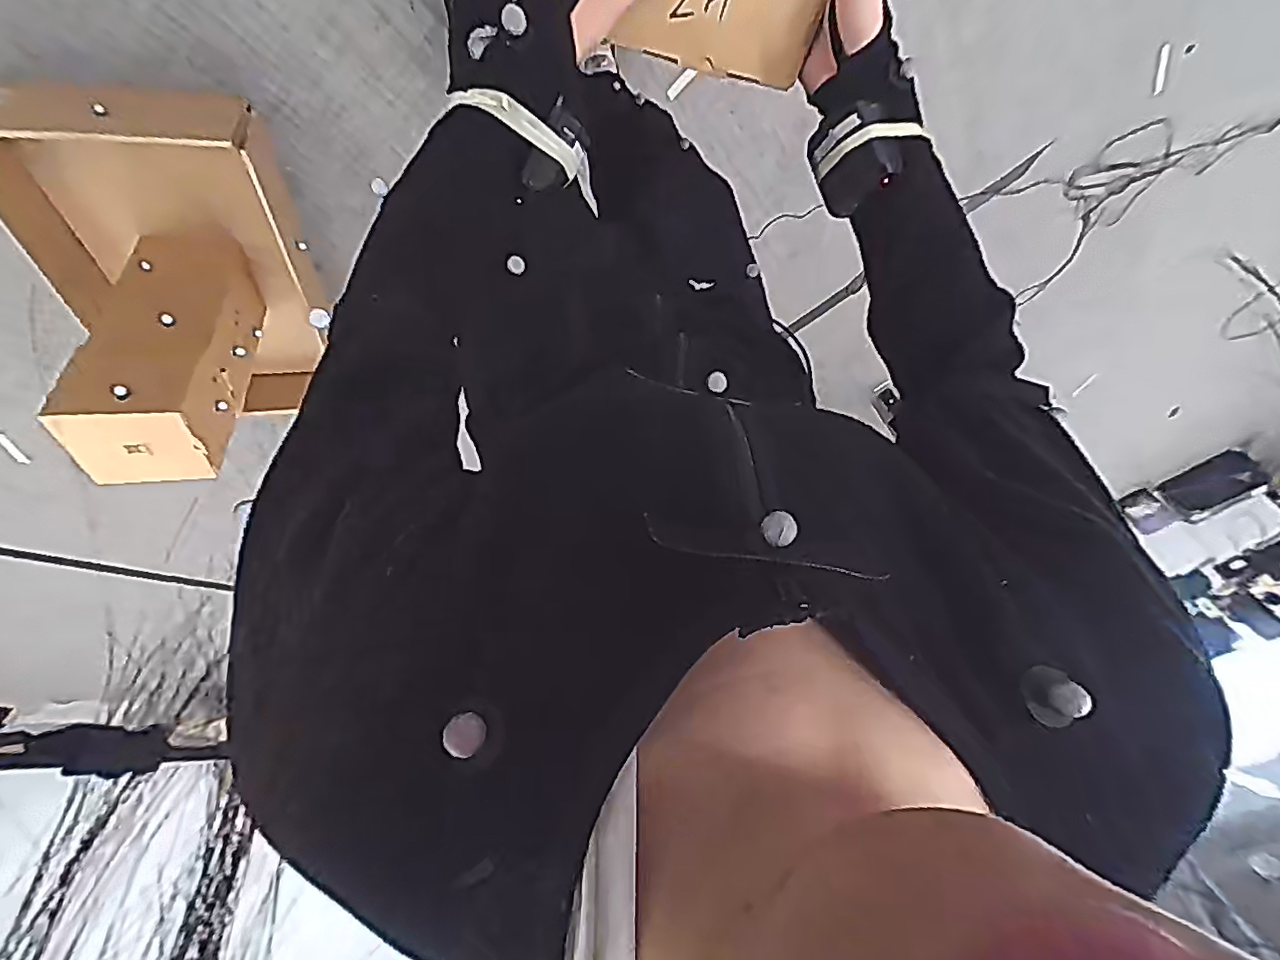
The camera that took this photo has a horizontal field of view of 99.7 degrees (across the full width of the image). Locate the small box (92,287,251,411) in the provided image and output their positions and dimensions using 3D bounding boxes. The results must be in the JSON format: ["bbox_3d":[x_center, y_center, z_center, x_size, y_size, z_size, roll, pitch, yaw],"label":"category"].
[{"bbox_3d":[-0.859,-0.244,1.018,0.179,0.176,0.168,-5,143,-19],"label":"small box"}]

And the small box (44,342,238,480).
[{"bbox_3d":[-0.824,-0.119,0.919,0.179,0.176,0.168,-5,143,-18],"label":"small box"}]

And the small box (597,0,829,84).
[{"bbox_3d":[0.054,-0.442,0.402,0.168,0.176,0.179,-2,142,-22],"label":"small box"}]
